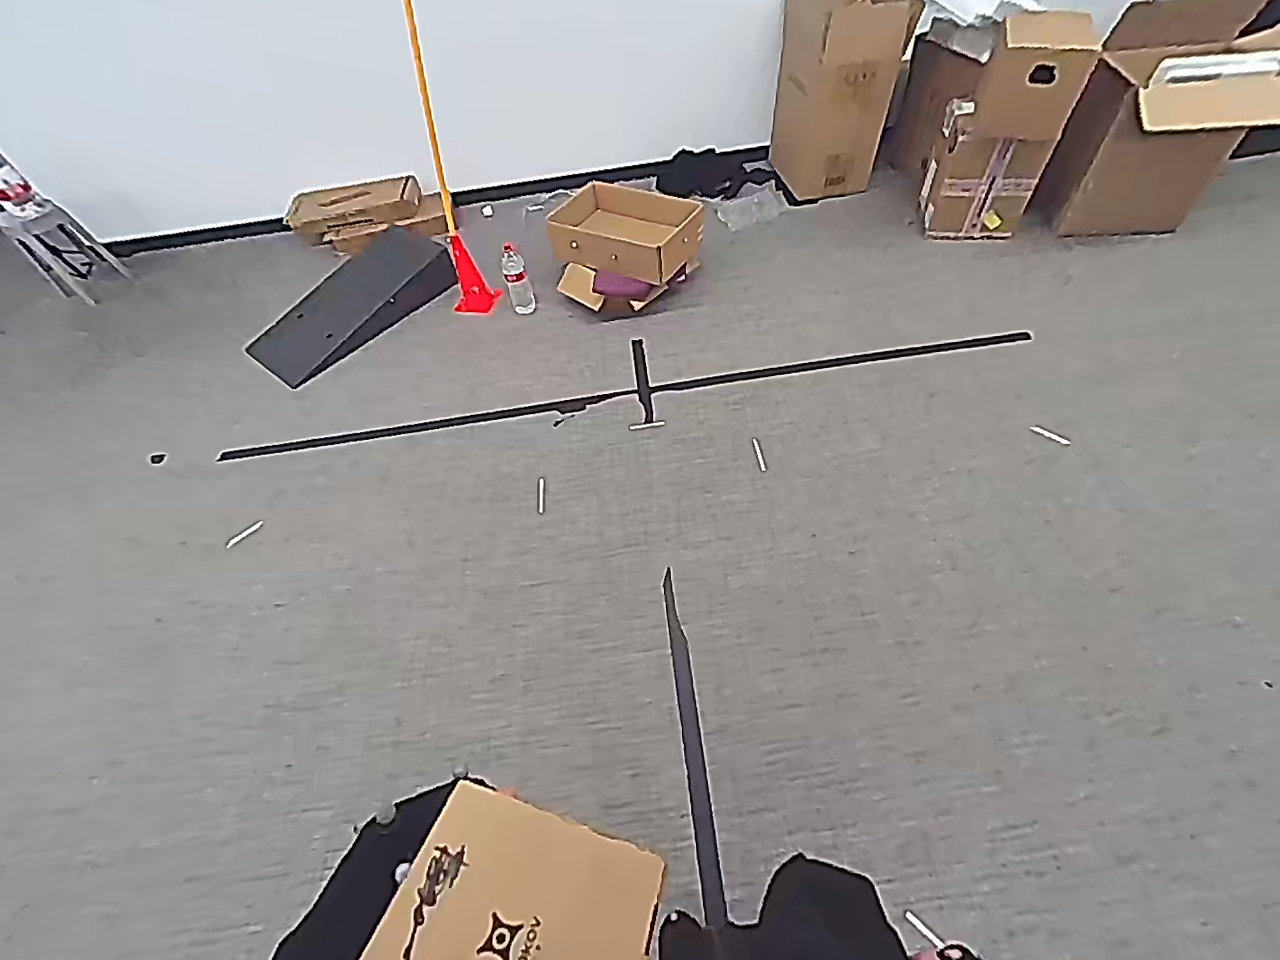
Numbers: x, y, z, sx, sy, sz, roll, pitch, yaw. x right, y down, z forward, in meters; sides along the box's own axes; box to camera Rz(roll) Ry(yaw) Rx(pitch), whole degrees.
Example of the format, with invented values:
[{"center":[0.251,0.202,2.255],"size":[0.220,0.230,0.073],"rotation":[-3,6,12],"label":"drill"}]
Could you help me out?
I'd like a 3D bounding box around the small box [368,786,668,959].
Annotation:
[{"center":[-0.095,0.376,0.406],"size":[0.179,0.176,0.168],"rotation":[16,35,8],"label":"small box"}]
